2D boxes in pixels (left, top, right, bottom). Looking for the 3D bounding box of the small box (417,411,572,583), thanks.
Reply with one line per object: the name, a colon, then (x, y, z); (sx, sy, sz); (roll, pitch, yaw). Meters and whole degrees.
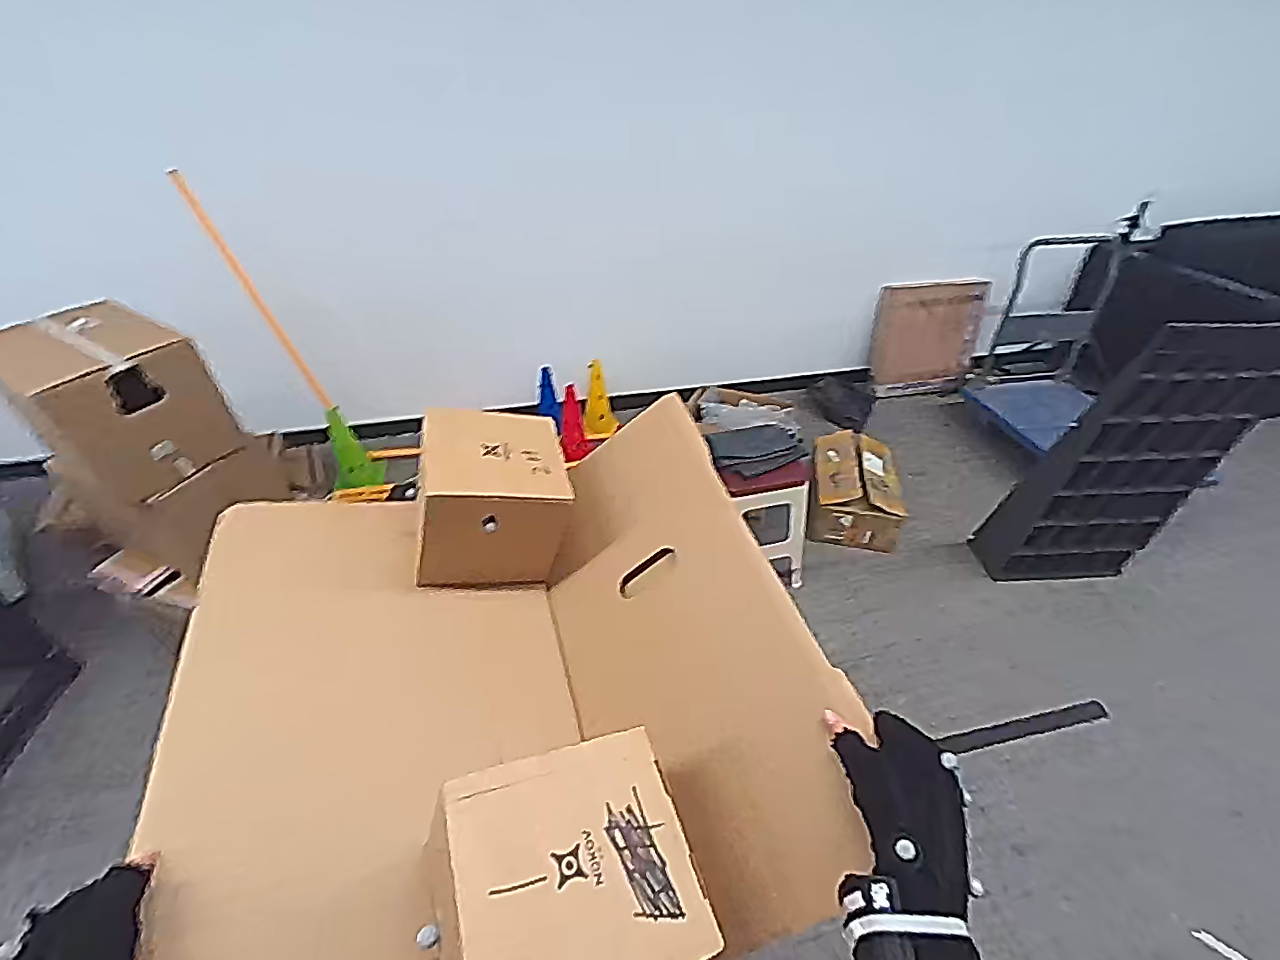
small box: (-0.207, 0.028, 0.741); (0.179, 0.176, 0.168); (4, 42, -24)
